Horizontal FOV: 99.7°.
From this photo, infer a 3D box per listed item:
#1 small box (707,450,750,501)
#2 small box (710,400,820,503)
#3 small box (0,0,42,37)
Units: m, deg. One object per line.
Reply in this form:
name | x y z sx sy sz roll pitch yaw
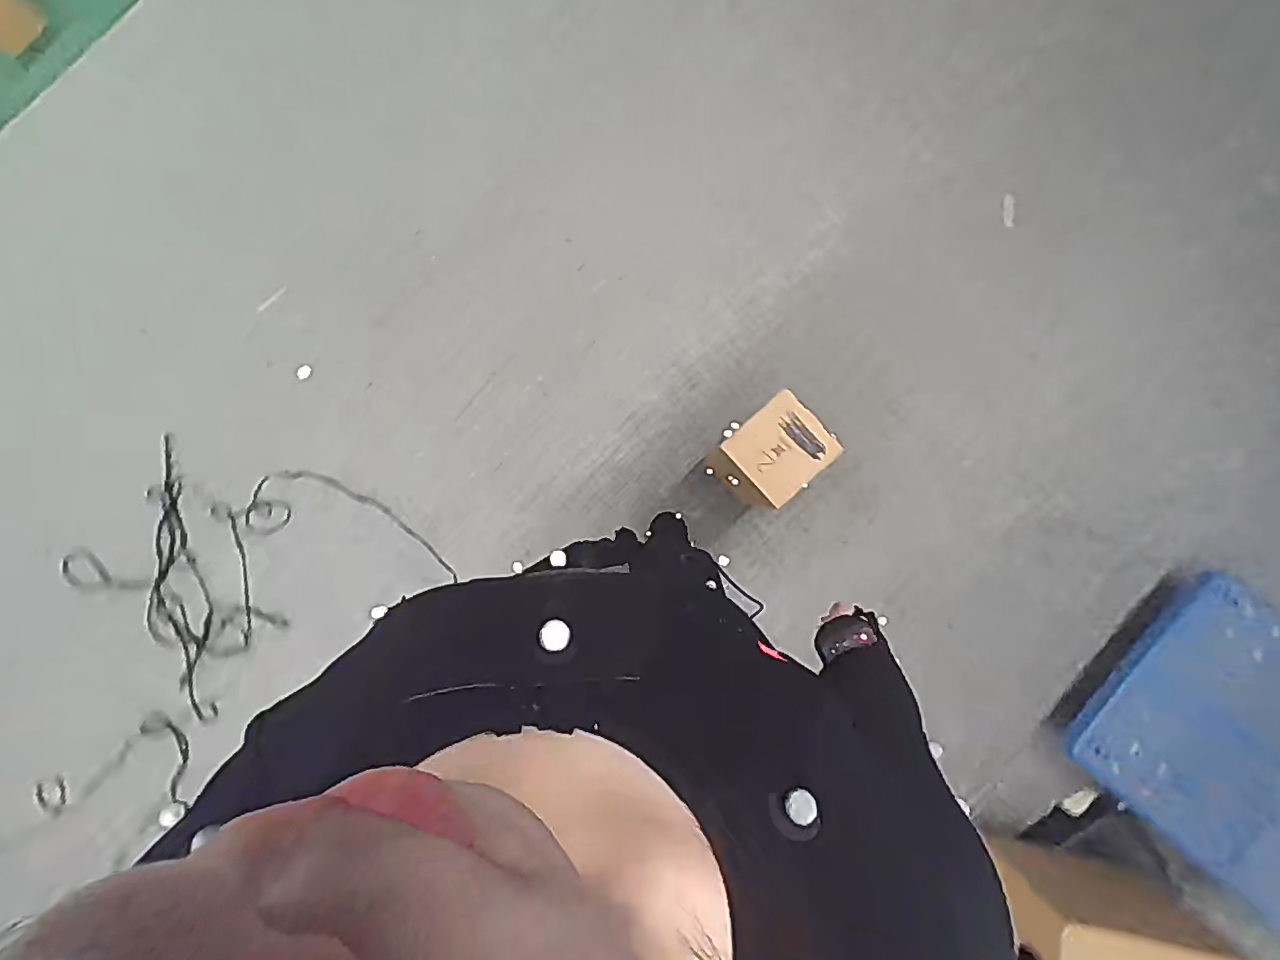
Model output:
small box | 0.291 -0.058 1.440 0.179 0.176 0.168 -41 87 -1
small box | 0.284 -0.059 1.276 0.168 0.176 0.179 -41 88 0
small box | -1.923 -1.445 1.566 0.168 0.176 0.179 -45 87 1
